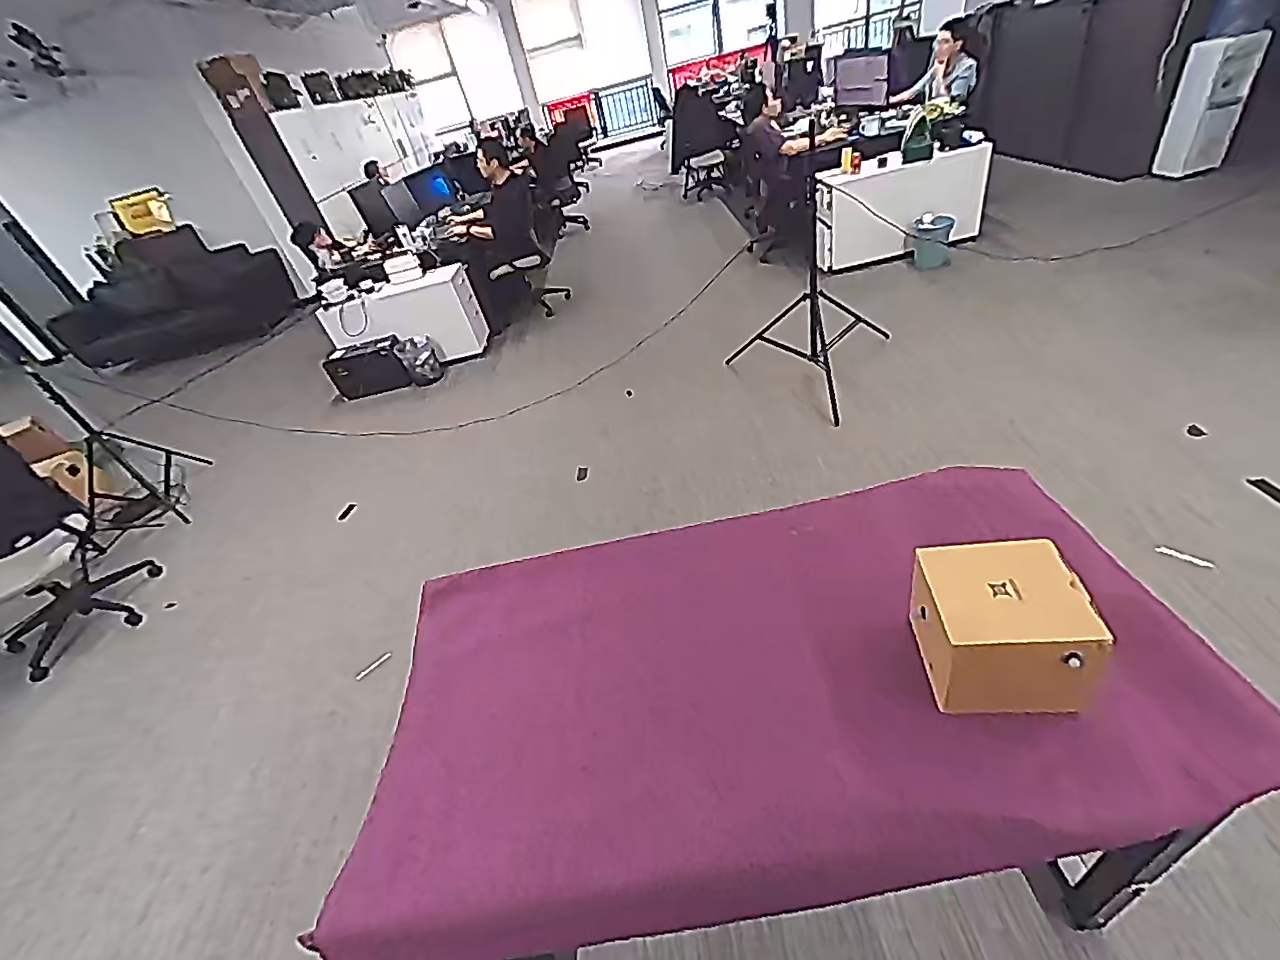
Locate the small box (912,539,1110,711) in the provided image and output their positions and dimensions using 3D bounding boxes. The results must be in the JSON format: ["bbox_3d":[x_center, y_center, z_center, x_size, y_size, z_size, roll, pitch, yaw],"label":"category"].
[{"bbox_3d":[0.493,0.205,0.755,0.179,0.176,0.168,-7,38,13],"label":"small box"}]
